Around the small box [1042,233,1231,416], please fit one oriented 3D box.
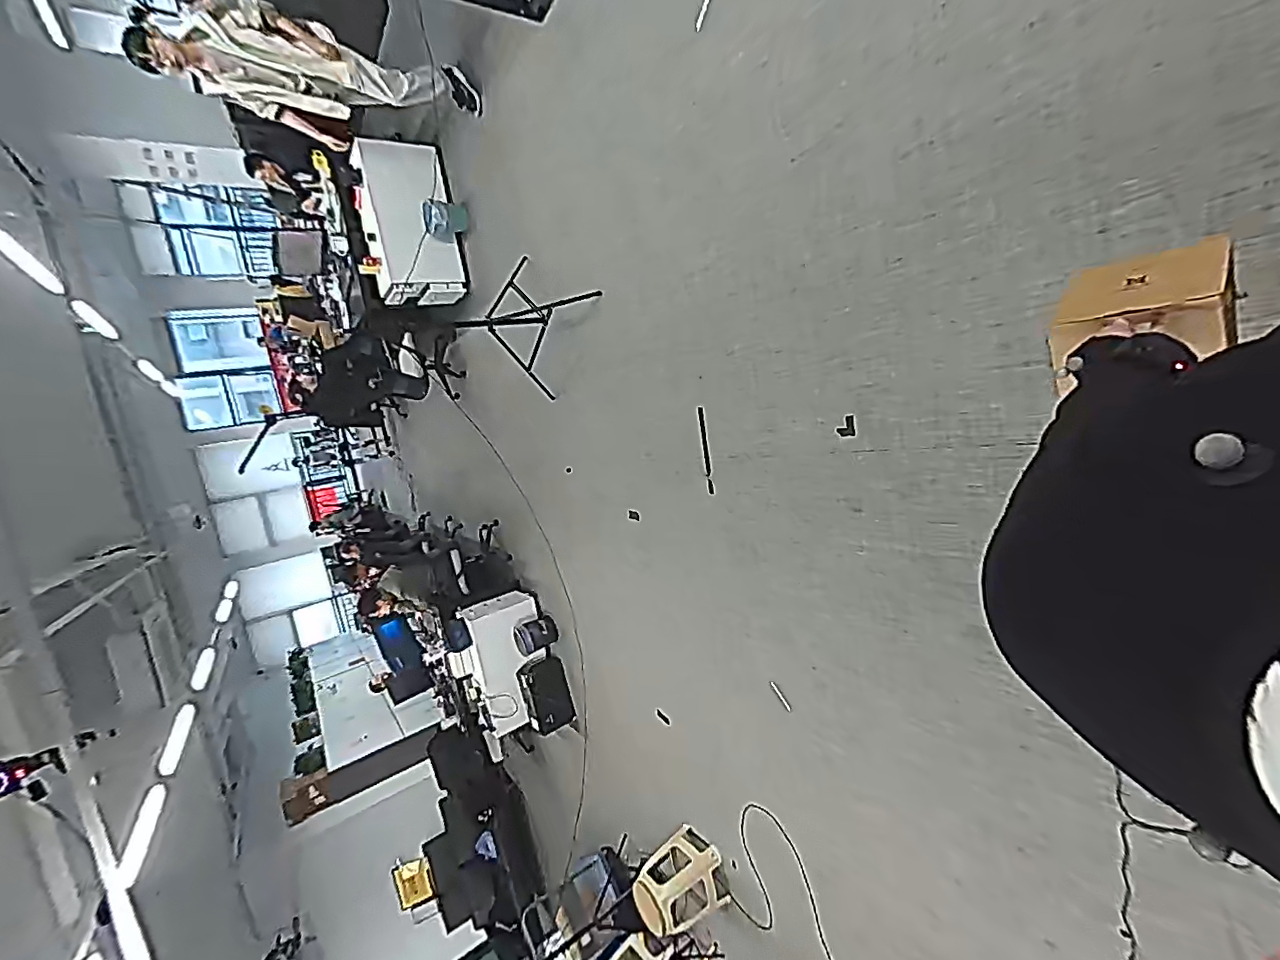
[{"bbox_3d":[0.686,-0.199,0.745,0.168,0.179,0.176,0,129,50],"label":"small box"}]
